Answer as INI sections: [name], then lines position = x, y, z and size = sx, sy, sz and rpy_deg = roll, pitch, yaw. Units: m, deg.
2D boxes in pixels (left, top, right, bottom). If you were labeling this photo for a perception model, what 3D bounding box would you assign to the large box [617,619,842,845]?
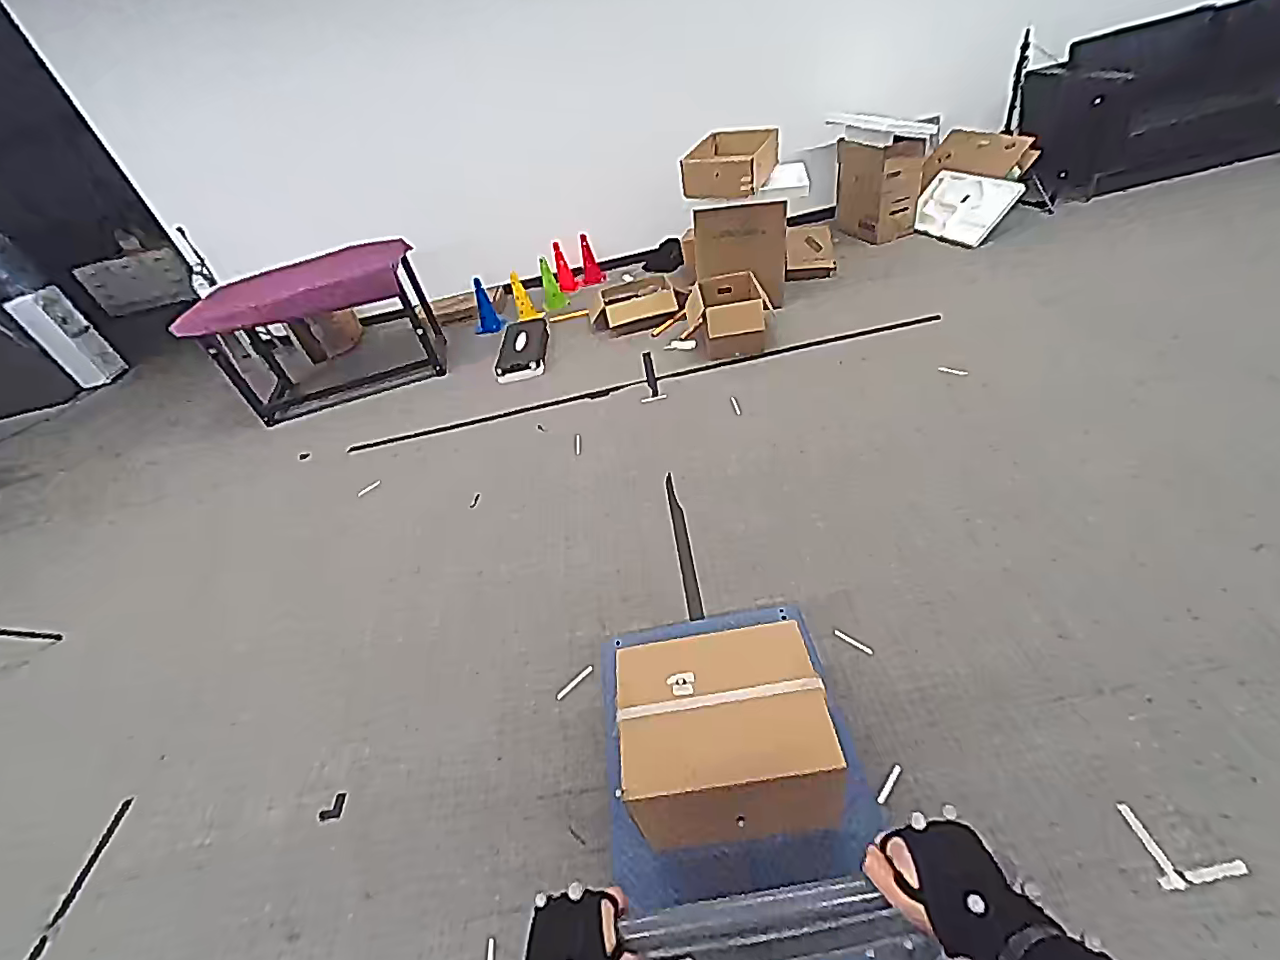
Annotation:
[large box]
position = 0.186, 0.554, 1.184
size = 0.408, 0.320, 0.320
rpy_deg = -12, 39, 4
